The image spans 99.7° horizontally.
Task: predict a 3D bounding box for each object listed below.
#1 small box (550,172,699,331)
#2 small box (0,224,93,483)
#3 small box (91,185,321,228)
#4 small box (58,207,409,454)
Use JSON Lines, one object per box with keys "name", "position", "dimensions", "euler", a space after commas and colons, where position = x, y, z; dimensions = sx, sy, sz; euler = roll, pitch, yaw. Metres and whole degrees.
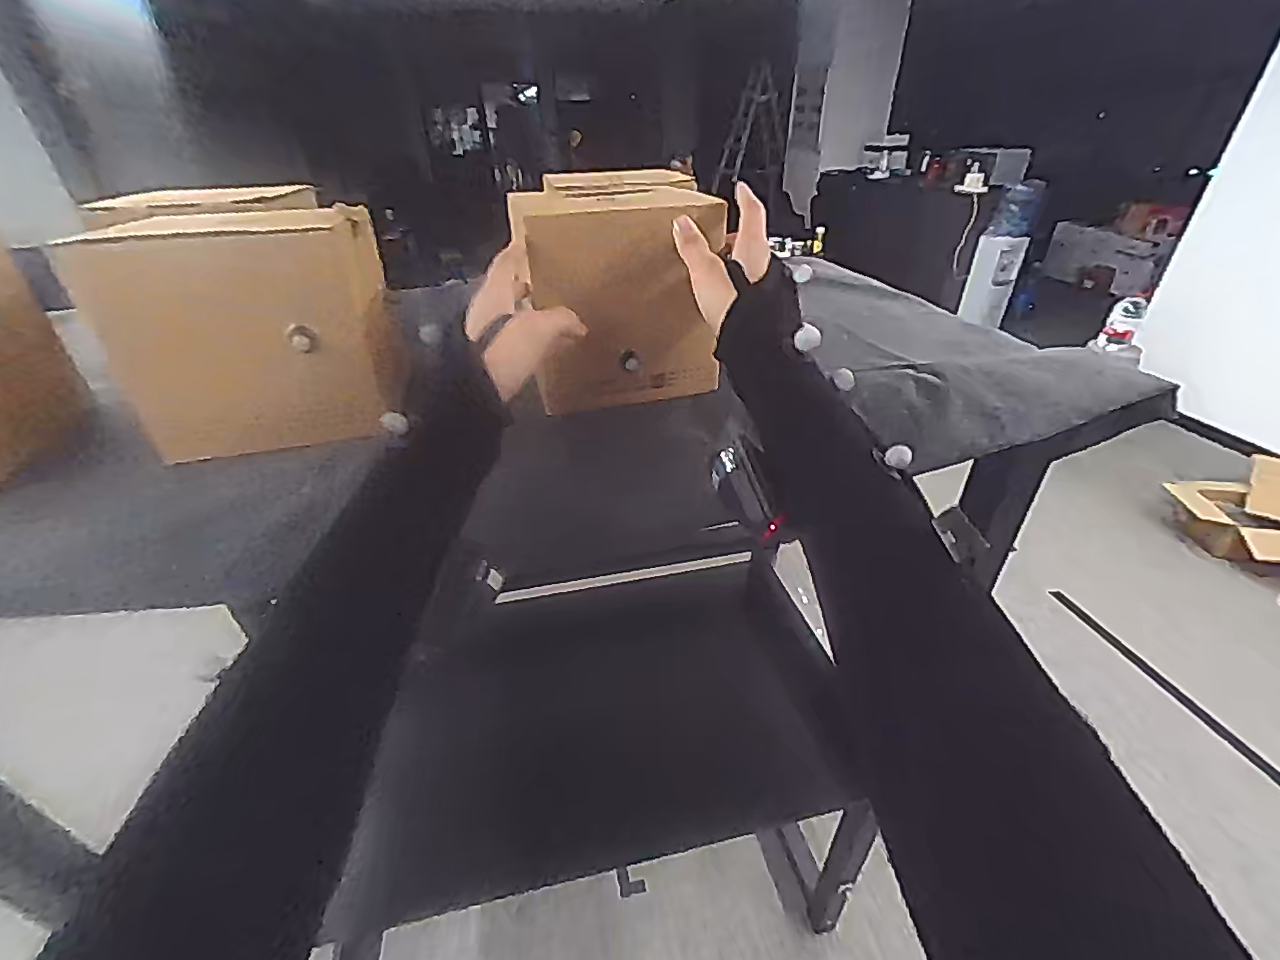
{"name": "small box", "position": [-0.026, -0.307, 0.720], "dimensions": [0.168, 0.176, 0.179], "euler": [-8, 34, -9]}
{"name": "small box", "position": [-0.587, -0.091, 0.412], "dimensions": [0.168, 0.176, 0.179], "euler": [-10, 35, -13]}
{"name": "small box", "position": [-0.463, -0.243, 0.641], "dimensions": [0.168, 0.176, 0.179], "euler": [-8, 33, -10]}
{"name": "small box", "position": [-0.314, -0.138, 0.475], "dimensions": [0.179, 0.176, 0.168], "euler": [-8, 32, -13]}
